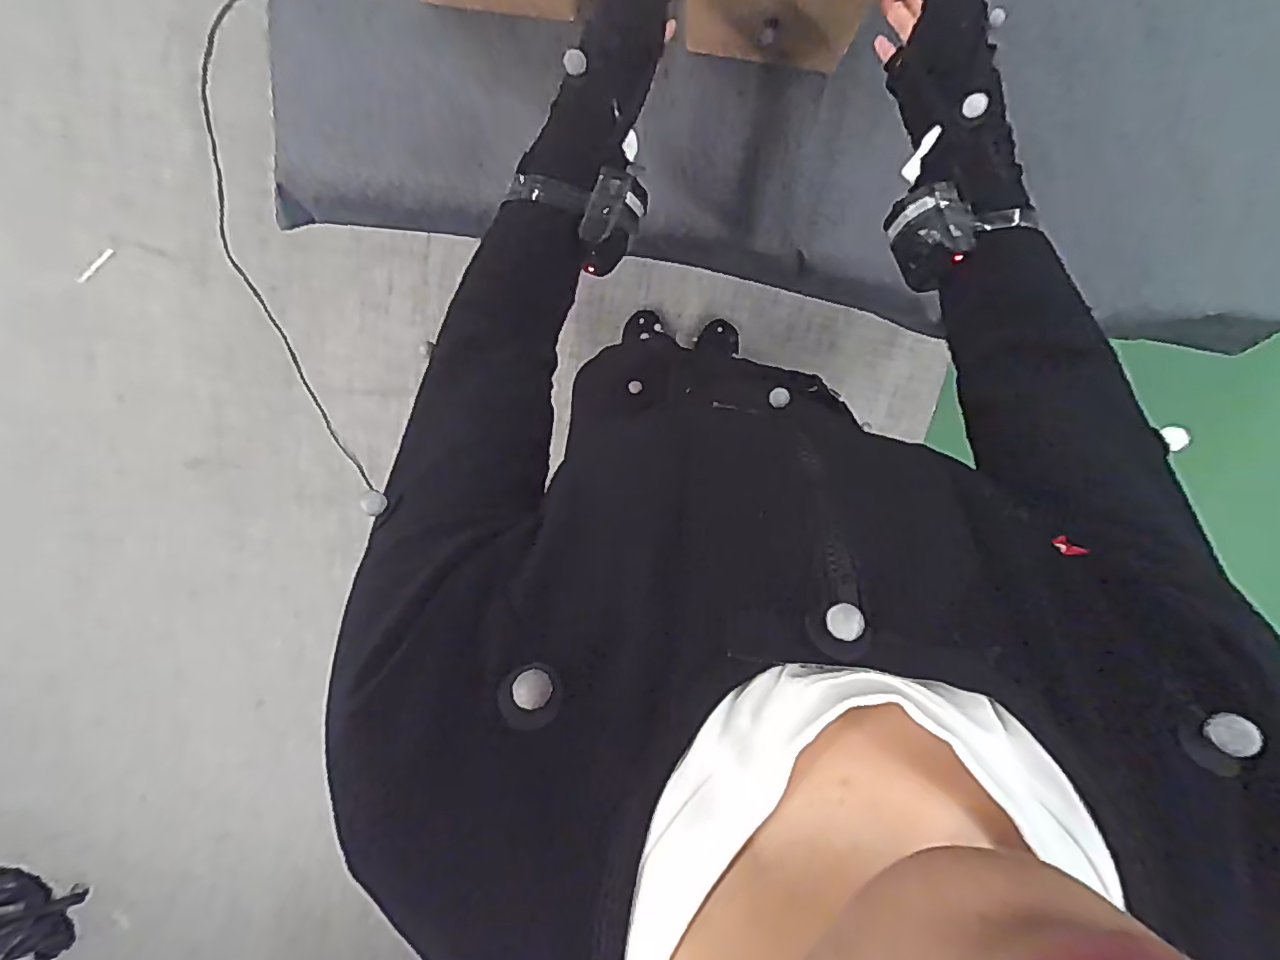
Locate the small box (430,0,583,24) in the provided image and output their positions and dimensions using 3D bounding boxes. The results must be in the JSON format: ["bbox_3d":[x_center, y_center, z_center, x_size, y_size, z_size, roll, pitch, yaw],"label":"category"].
[{"bbox_3d":[-0.146,-0.570,0.504,0.179,0.176,0.168,8,106,1],"label":"small box"}]

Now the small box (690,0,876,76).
[{"bbox_3d":[0.142,-0.515,0.501,0.168,0.176,0.179,10,106,1],"label":"small box"}]
